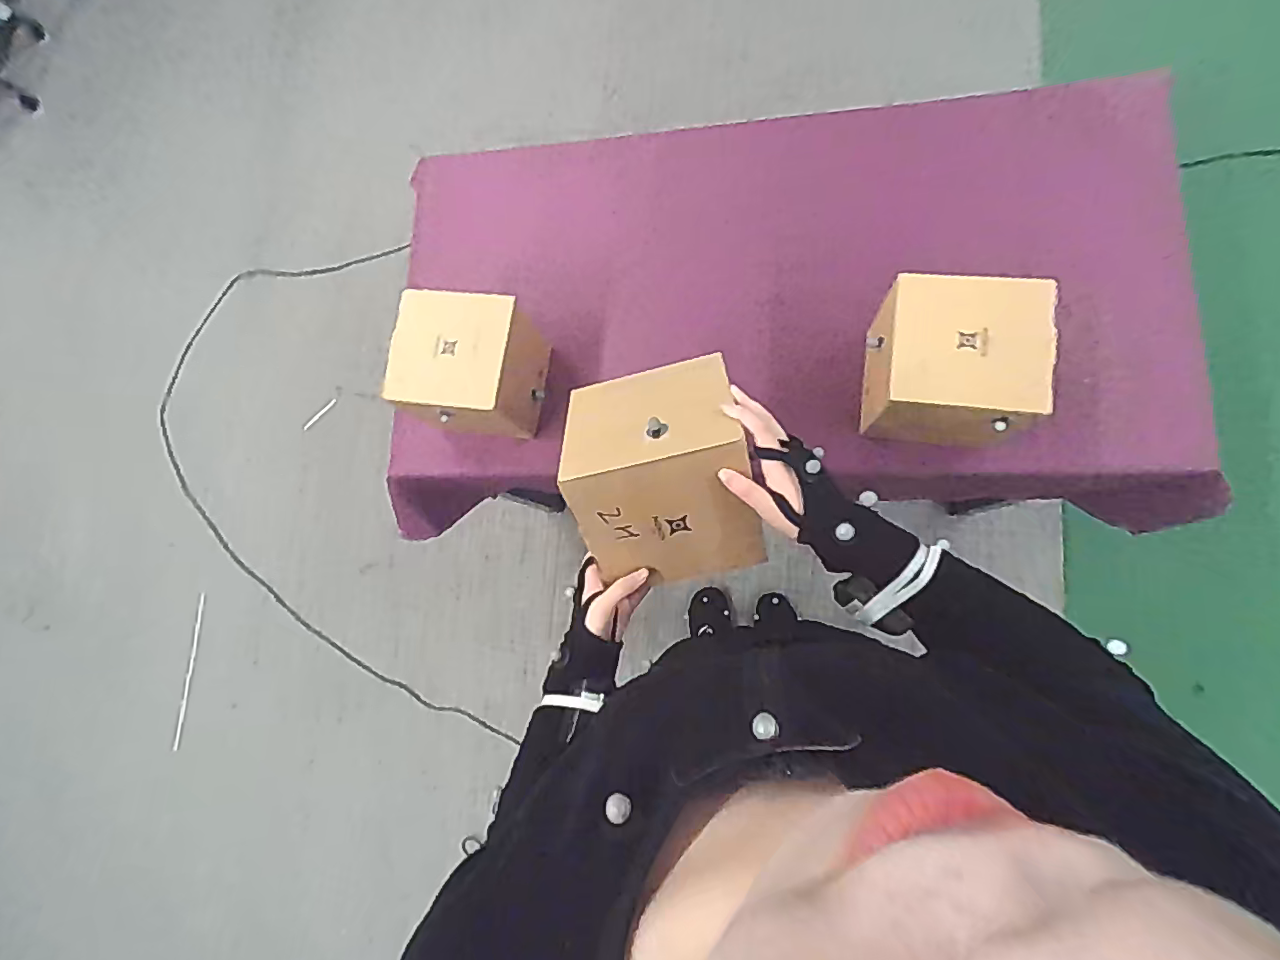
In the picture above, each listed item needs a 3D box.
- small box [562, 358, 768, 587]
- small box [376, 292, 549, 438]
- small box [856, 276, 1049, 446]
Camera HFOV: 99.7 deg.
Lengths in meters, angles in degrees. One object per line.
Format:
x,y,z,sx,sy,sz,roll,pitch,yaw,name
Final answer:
0.030,-0.012,0.585,0.179,0.168,0.176,-11,39,10,small box
-0.260,-0.168,0.828,0.179,0.176,0.168,8,82,10,small box
0.395,-0.147,0.713,0.179,0.176,0.168,7,81,10,small box
